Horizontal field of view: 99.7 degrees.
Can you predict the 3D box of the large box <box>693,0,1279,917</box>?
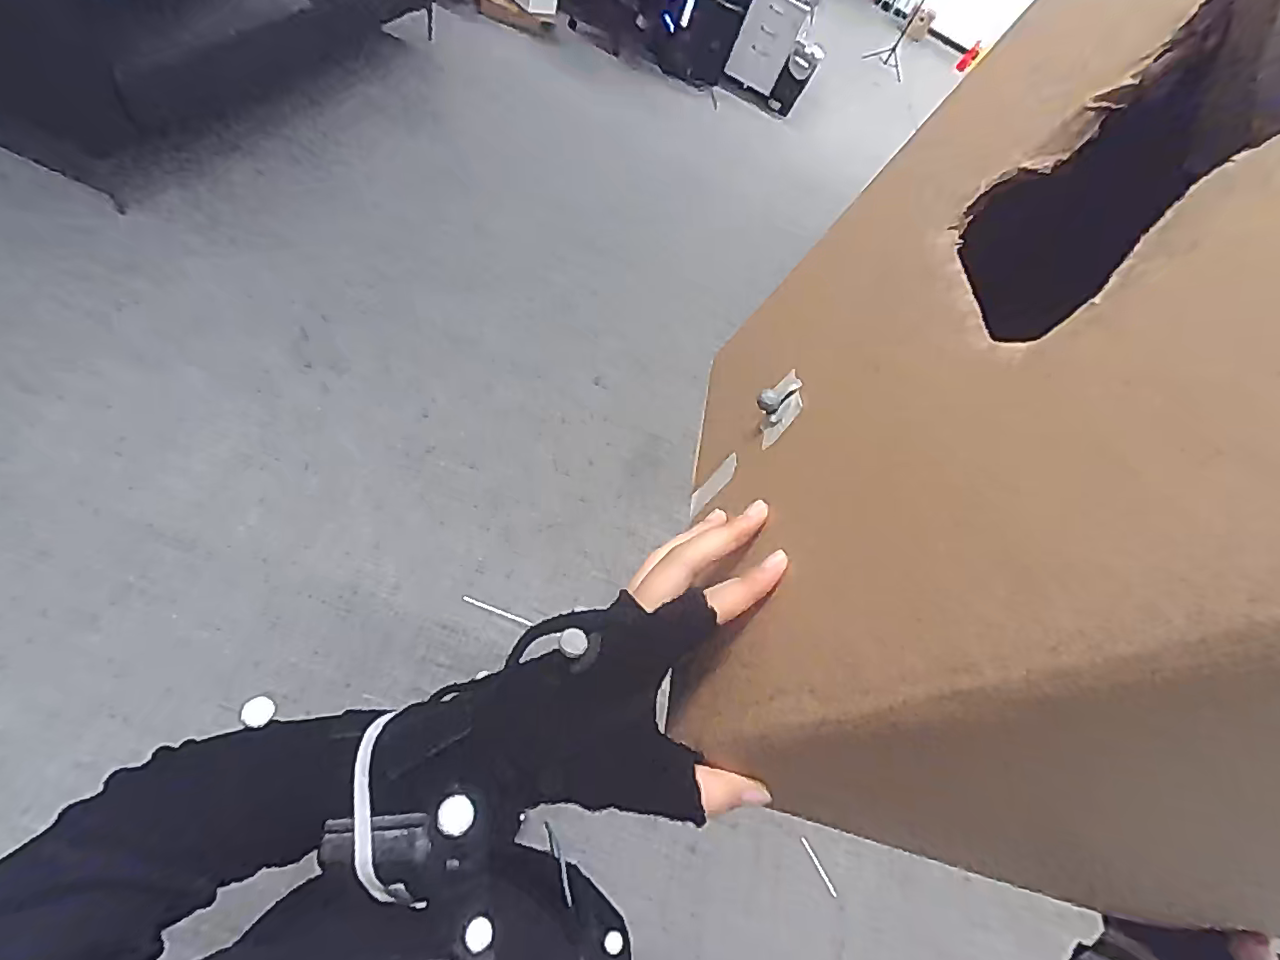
[{"bbox_3d":[0.283,0.035,0.312,0.408,0.320,0.320,27,50,-18],"label":"large box"}]
